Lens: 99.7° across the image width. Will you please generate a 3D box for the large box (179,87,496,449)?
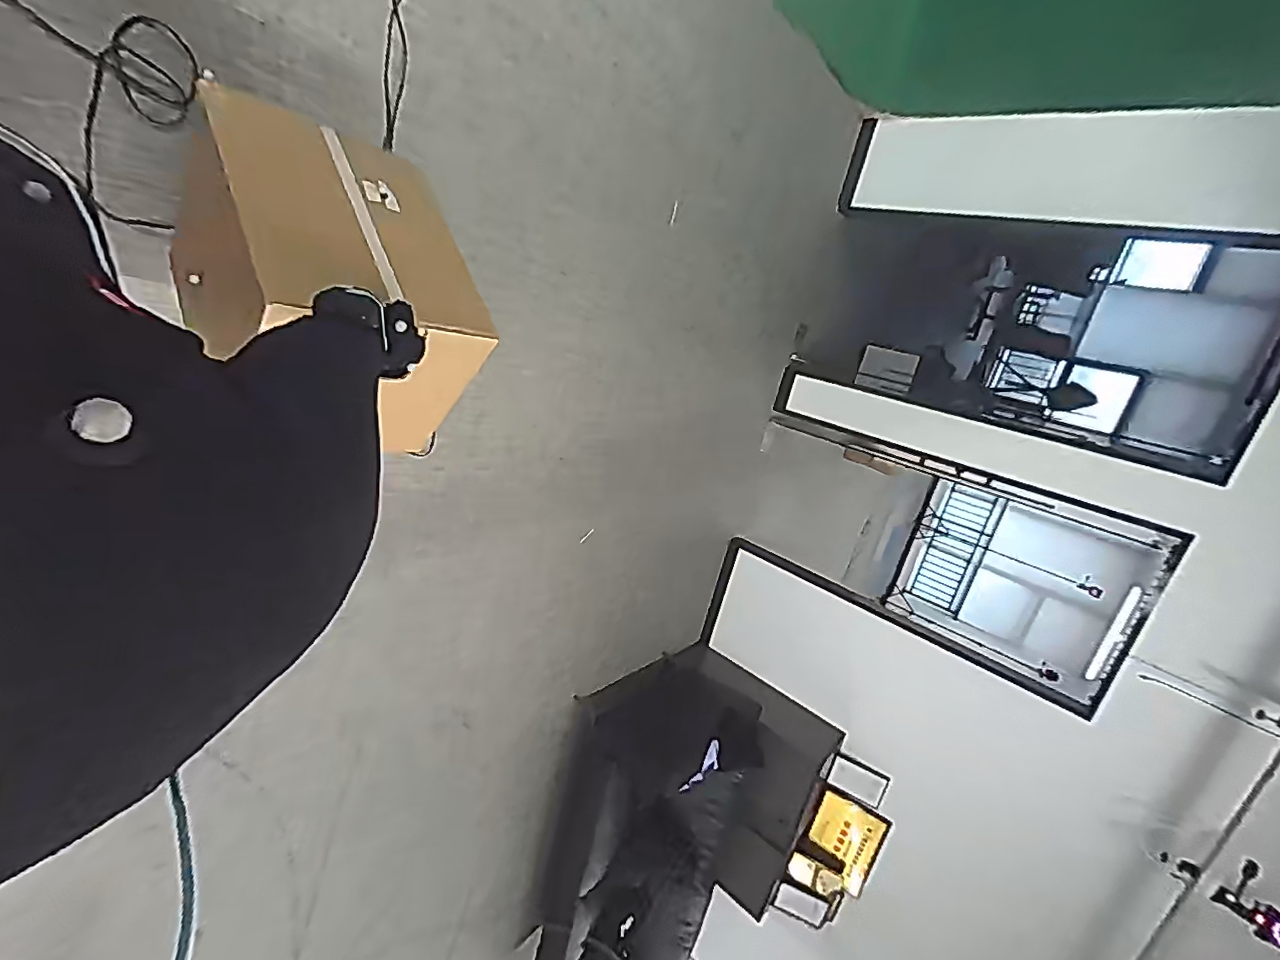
[{"bbox_3d":[-0.501,-0.301,0.878,0.320,0.408,0.320,-6,153,-50],"label":"large box"}]
